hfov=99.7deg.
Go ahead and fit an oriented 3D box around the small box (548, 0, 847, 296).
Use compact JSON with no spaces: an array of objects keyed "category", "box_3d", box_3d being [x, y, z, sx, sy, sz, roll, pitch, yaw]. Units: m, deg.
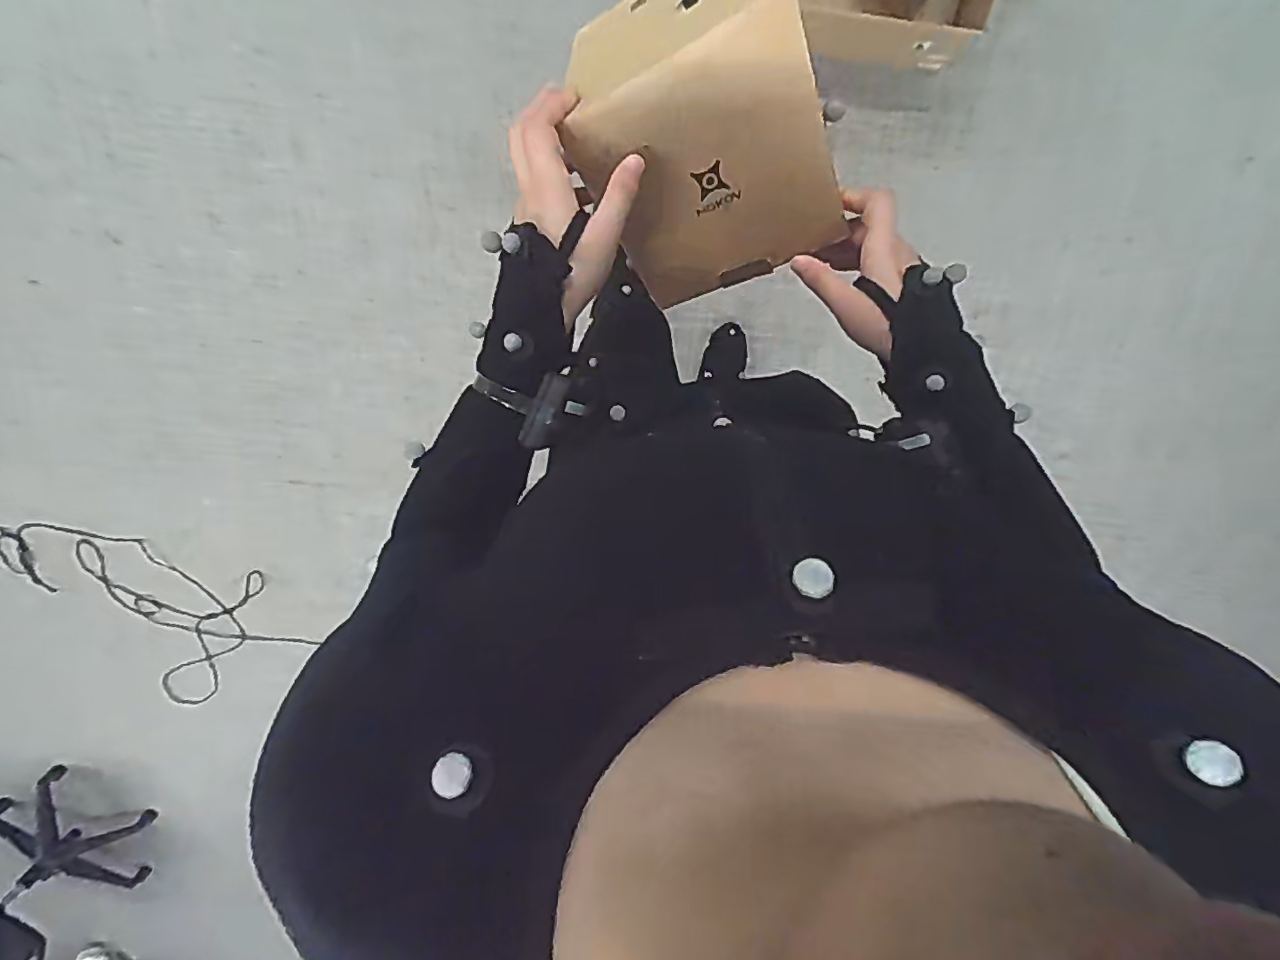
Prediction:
[{"category":"small box","box_3d":[0.049,-0.289,0.426,0.168,0.176,0.179,-15,145,24]}]
